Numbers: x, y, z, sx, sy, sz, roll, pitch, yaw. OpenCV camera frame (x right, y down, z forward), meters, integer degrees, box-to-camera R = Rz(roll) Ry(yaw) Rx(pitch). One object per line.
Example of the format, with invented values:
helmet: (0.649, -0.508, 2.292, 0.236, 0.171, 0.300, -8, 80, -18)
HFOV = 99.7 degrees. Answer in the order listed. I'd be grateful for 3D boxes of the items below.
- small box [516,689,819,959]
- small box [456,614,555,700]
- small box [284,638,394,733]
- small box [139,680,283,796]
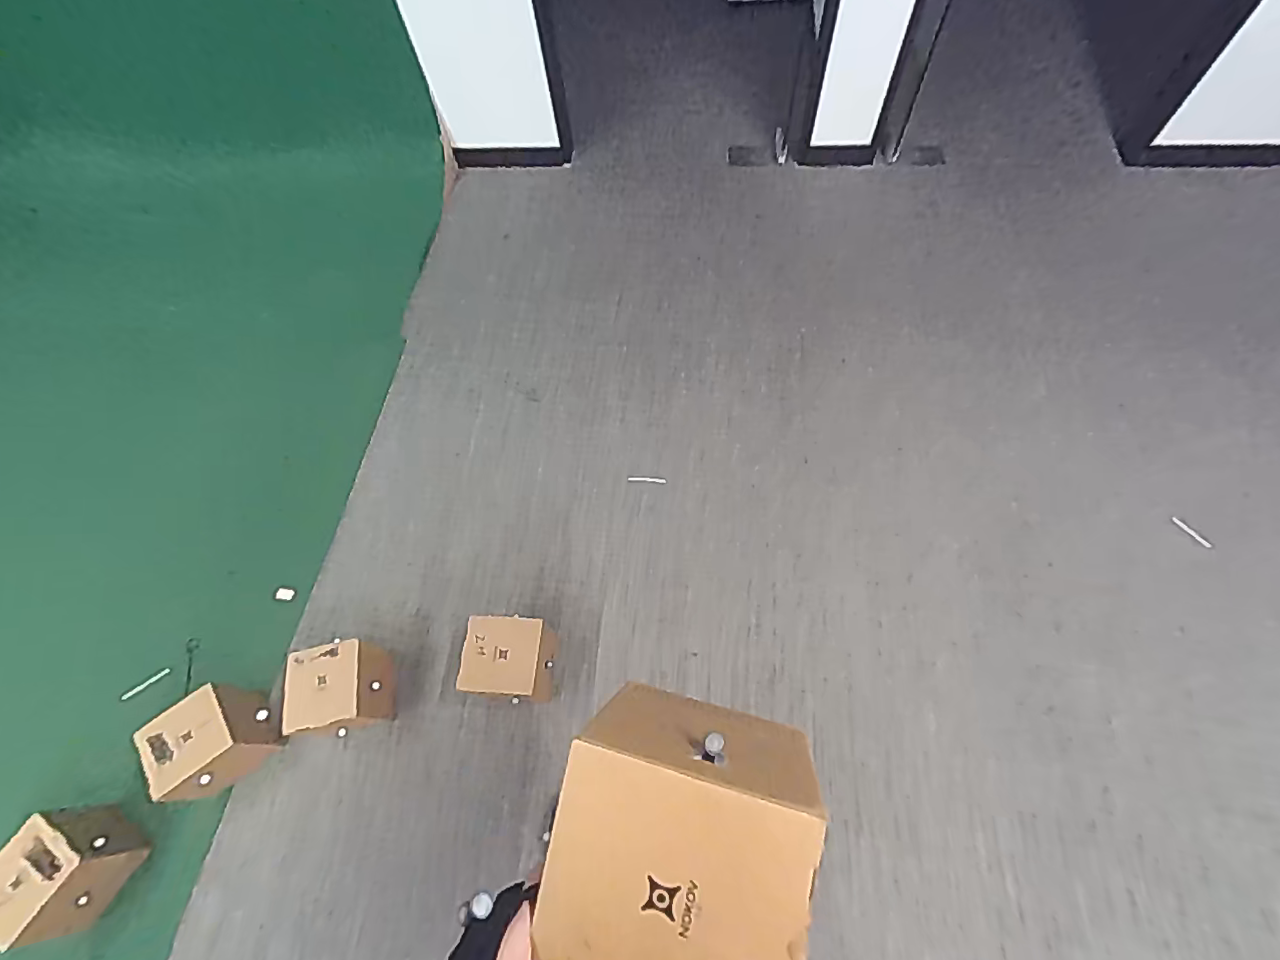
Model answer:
small box: (0.030, 0.286, 0.437, 0.179, 0.176, 0.168, 12, 85, 12)
small box: (-0.306, 0.422, 1.277, 0.179, 0.176, 0.168, 2, 63, 5)
small box: (-0.699, 0.487, 1.275, 0.168, 0.176, 0.179, -12, 63, -2)
small box: (-0.978, 0.593, 1.243, 0.179, 0.176, 0.168, -36, 66, -14)
